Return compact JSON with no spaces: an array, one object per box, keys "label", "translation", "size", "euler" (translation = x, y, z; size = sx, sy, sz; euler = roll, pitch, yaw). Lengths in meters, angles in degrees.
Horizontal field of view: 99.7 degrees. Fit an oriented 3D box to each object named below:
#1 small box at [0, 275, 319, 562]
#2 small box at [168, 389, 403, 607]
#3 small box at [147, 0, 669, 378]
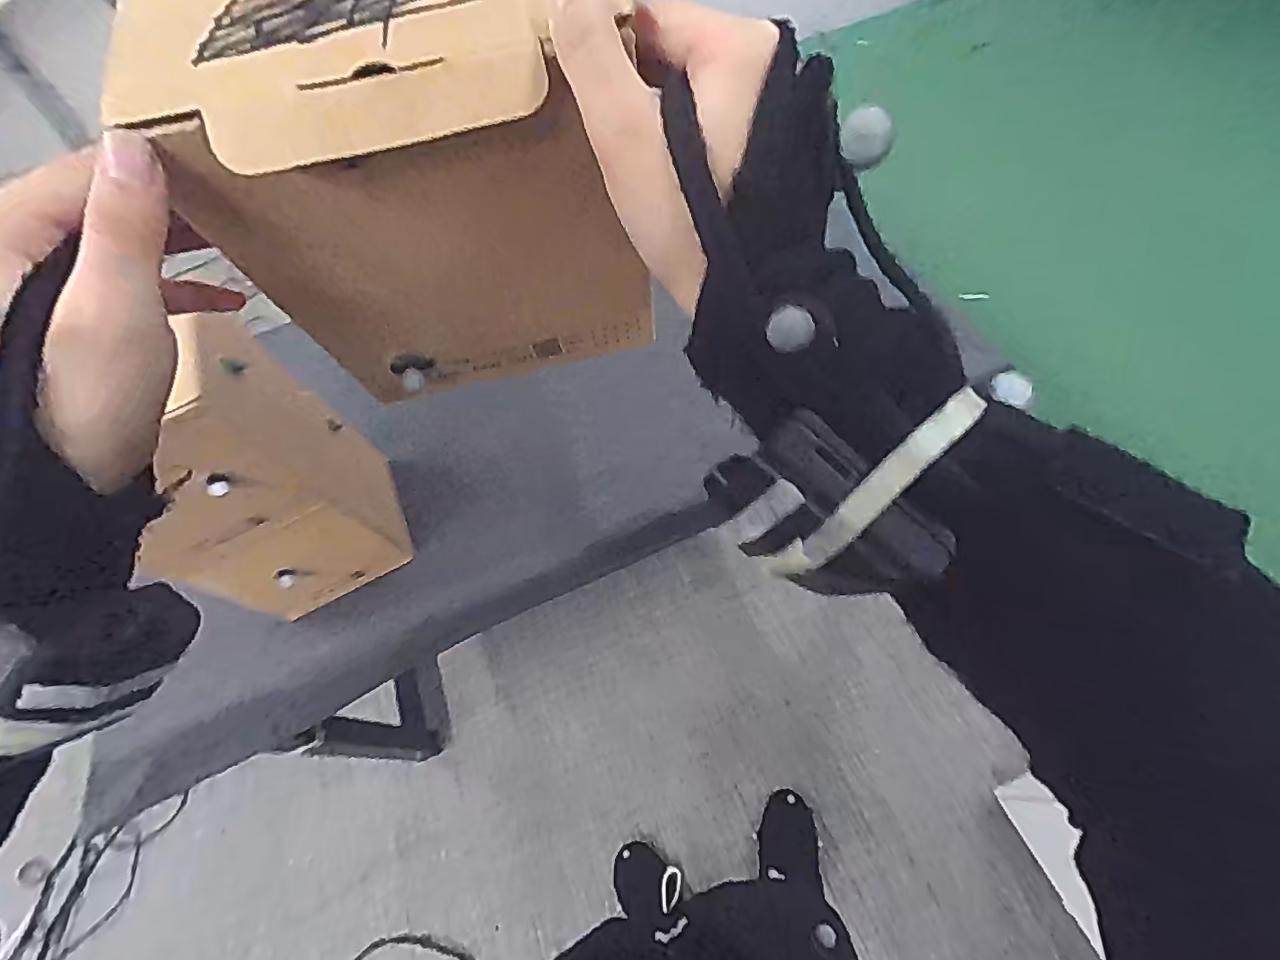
[{"label":"small box","translation":[-0.432,-0.045,0.501],"size":[0.168,0.176,0.179],"euler":[-28,59,-9]},{"label":"small box","translation":[-0.411,0.033,0.642],"size":[0.168,0.176,0.179],"euler":[-28,60,-8]},{"label":"small box","translation":[-0.081,-0.168,0.268],"size":[0.168,0.176,0.179],"euler":[-12,68,-2]}]
